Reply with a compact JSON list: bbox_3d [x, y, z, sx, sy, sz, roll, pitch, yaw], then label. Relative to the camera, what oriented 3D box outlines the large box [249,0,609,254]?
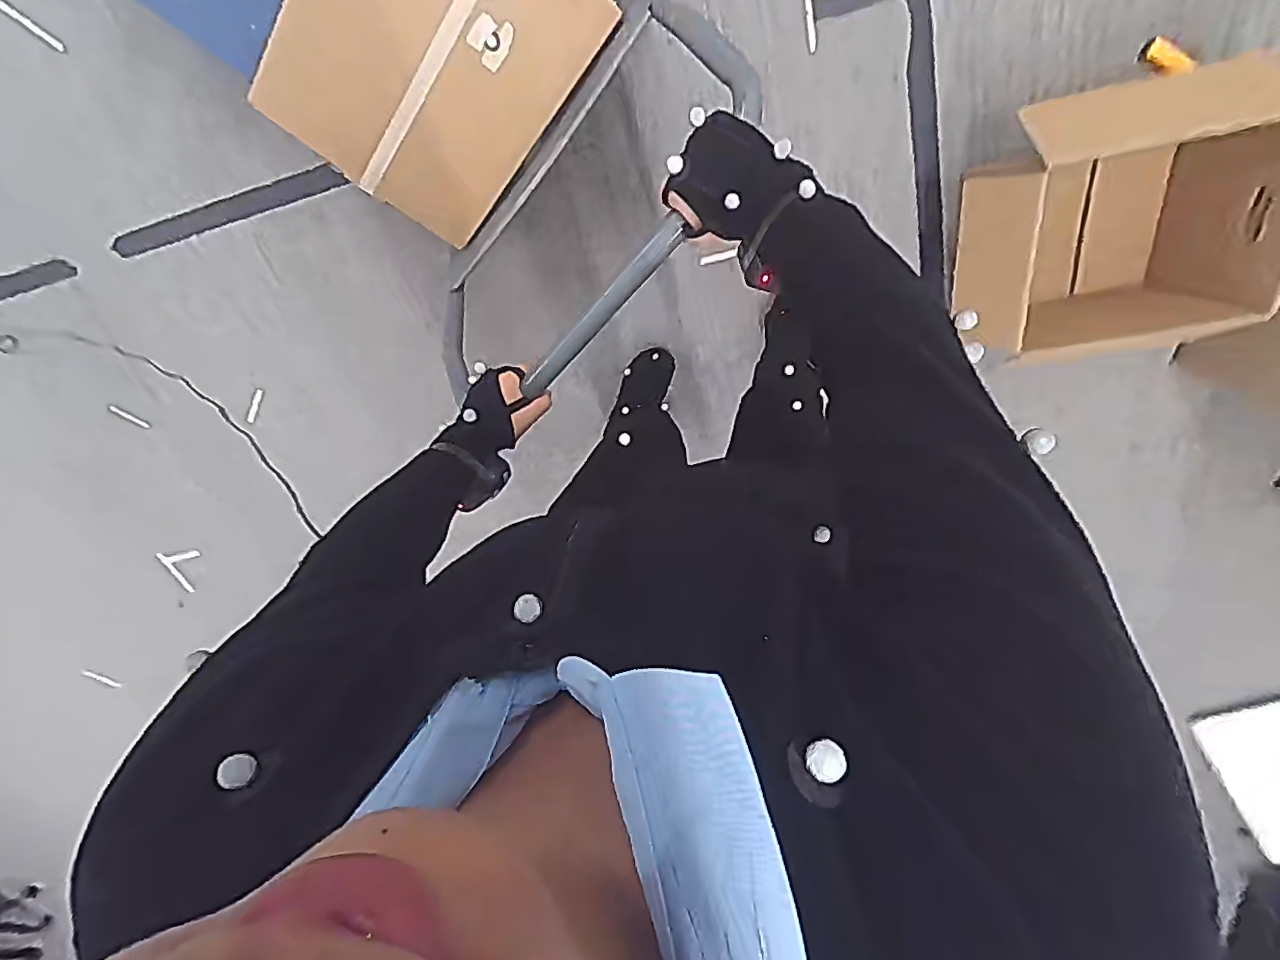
[{"bbox_3d":[-0.300,-0.643,0.808,0.320,0.320,0.408,28,123,-34],"label":"large box"}]
